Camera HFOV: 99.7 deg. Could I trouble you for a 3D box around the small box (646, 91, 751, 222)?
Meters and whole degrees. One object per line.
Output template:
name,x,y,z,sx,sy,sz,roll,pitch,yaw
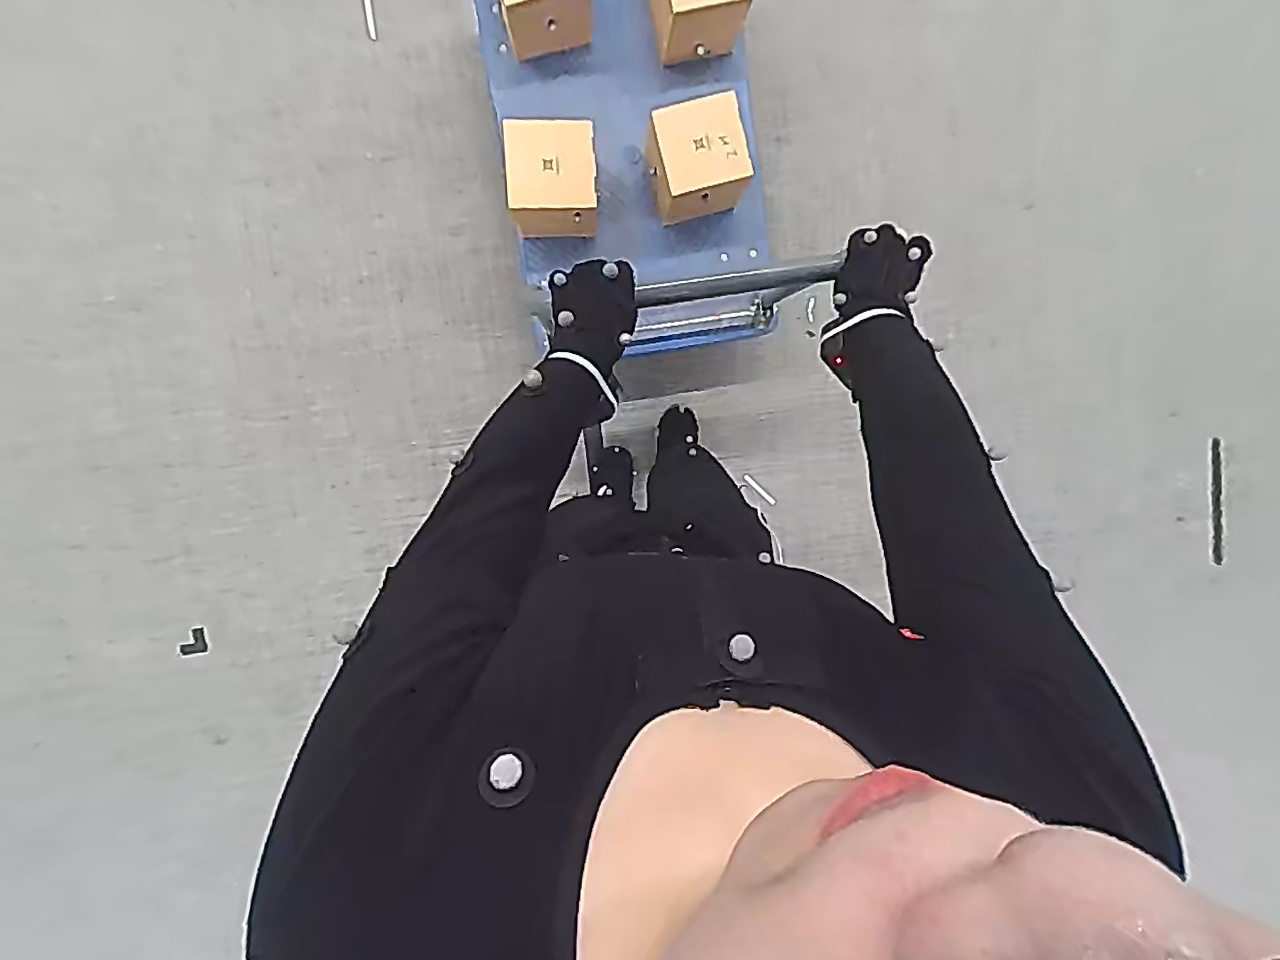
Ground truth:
small box,0.114,-0.674,1.147,0.179,0.176,0.168,-16,98,-2

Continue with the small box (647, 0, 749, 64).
small box,0.111,-1.009,1.107,0.168,0.176,0.179,-14,98,-3

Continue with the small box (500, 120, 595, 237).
small box,-0.185,-0.620,1.130,0.179,0.176,0.168,-4,97,-5
